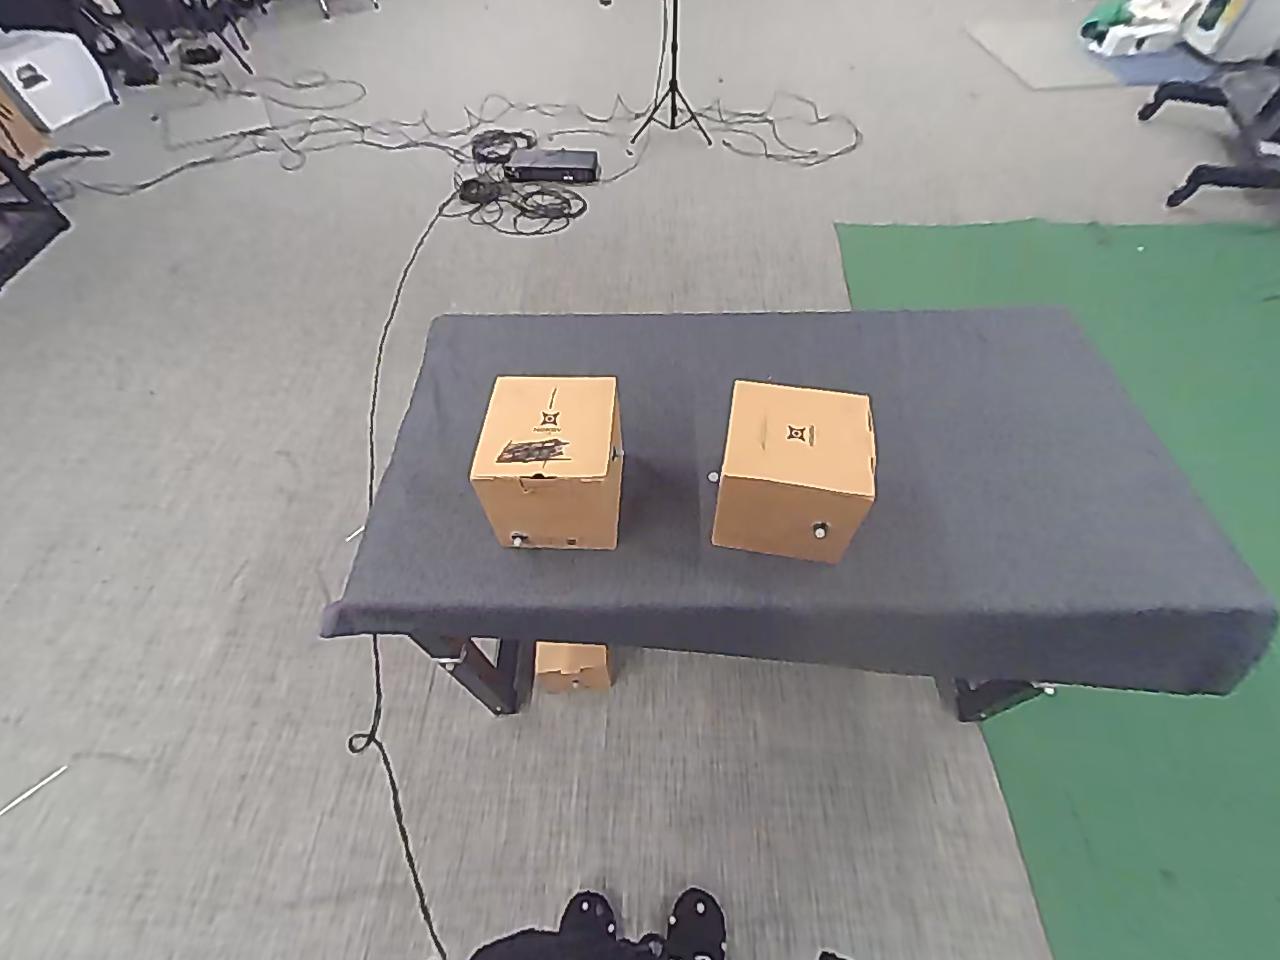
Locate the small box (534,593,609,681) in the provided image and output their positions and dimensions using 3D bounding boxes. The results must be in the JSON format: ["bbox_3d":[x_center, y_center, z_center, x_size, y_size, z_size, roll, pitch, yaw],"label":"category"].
[{"bbox_3d":[-0.165,0.398,1.354,0.168,0.176,0.179,-3,56,-1],"label":"small box"}]

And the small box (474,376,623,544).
[{"bbox_3d":[-0.112,-0.024,0.755,0.168,0.176,0.179,2,53,2],"label":"small box"}]

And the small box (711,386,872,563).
[{"bbox_3d":[0.199,-0.003,0.738,0.179,0.176,0.168,8,54,8],"label":"small box"}]
